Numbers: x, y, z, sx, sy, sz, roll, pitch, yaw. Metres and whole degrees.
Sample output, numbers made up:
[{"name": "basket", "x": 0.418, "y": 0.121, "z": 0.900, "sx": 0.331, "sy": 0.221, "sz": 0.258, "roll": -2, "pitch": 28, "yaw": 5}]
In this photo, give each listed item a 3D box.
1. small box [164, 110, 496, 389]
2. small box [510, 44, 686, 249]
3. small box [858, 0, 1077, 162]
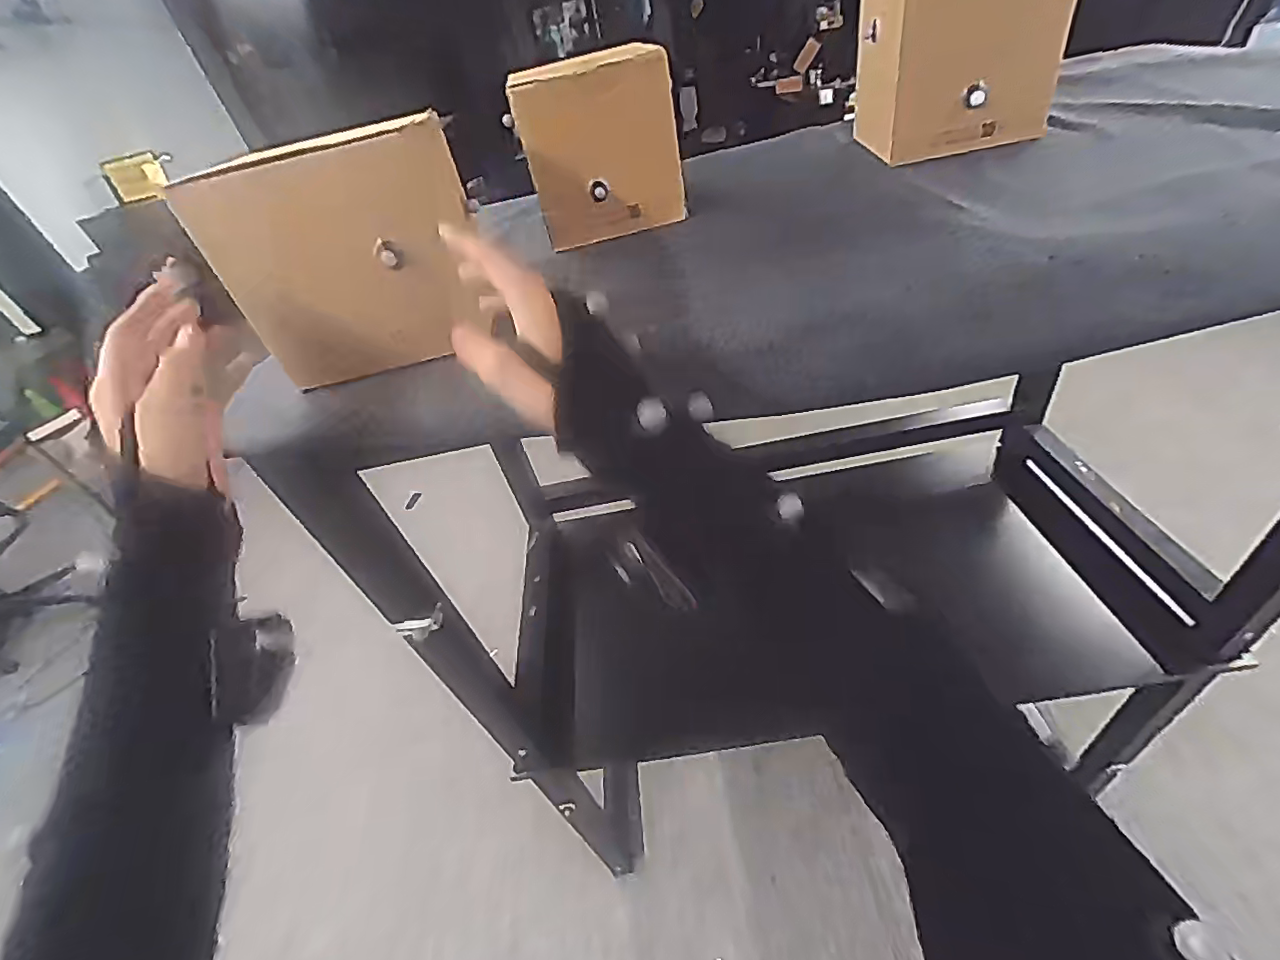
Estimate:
[{"name": "small box", "x": -0.239, "y": -0.204, "z": 0.480, "sx": 0.179, "sy": 0.176, "sz": 0.168, "roll": -13, "pitch": 39, "yaw": 0}, {"name": "small box", "x": -0.050, "y": -0.400, "z": 0.652, "sx": 0.168, "sy": 0.176, "sz": 0.179, "roll": -15, "pitch": 42, "yaw": -1}, {"name": "small box", "x": 0.363, "y": -0.494, "z": 0.634, "sx": 0.168, "sy": 0.176, "sz": 0.179, "roll": -7, "pitch": 42, "yaw": 9}]
